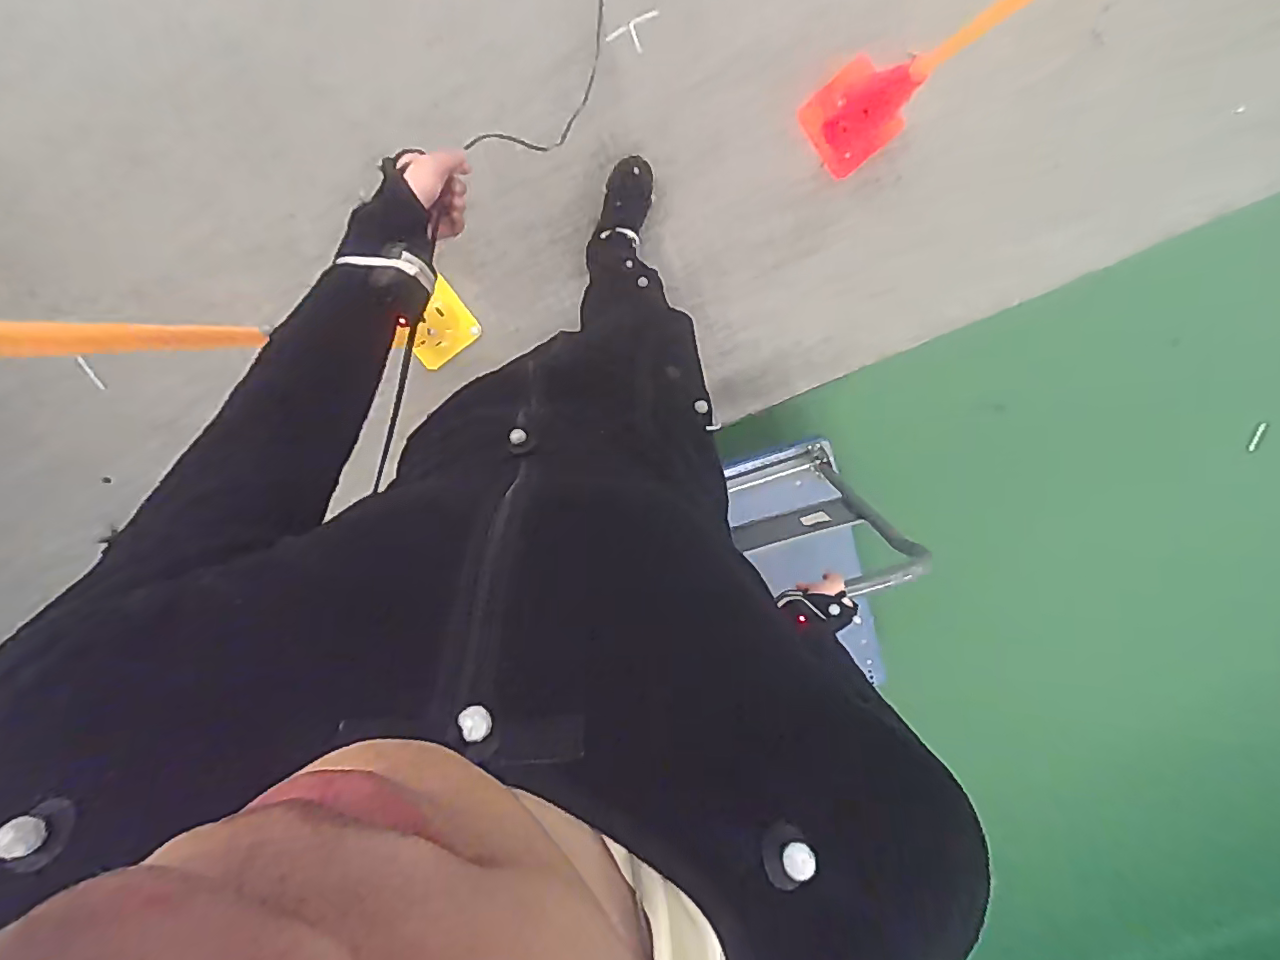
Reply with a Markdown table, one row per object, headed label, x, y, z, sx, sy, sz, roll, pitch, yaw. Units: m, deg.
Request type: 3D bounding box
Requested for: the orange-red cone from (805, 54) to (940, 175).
| label | x | y | z | sx | sy | sz | roll | pitch | yaw |
| --- | --- | --- | --- | --- | --- | --- | --- | --- | --- |
| orange-red cone | 0.528 | -0.821 | 1.153 | 0.199 | 0.360 | 0.198 | -37 | 108 | 11 |
